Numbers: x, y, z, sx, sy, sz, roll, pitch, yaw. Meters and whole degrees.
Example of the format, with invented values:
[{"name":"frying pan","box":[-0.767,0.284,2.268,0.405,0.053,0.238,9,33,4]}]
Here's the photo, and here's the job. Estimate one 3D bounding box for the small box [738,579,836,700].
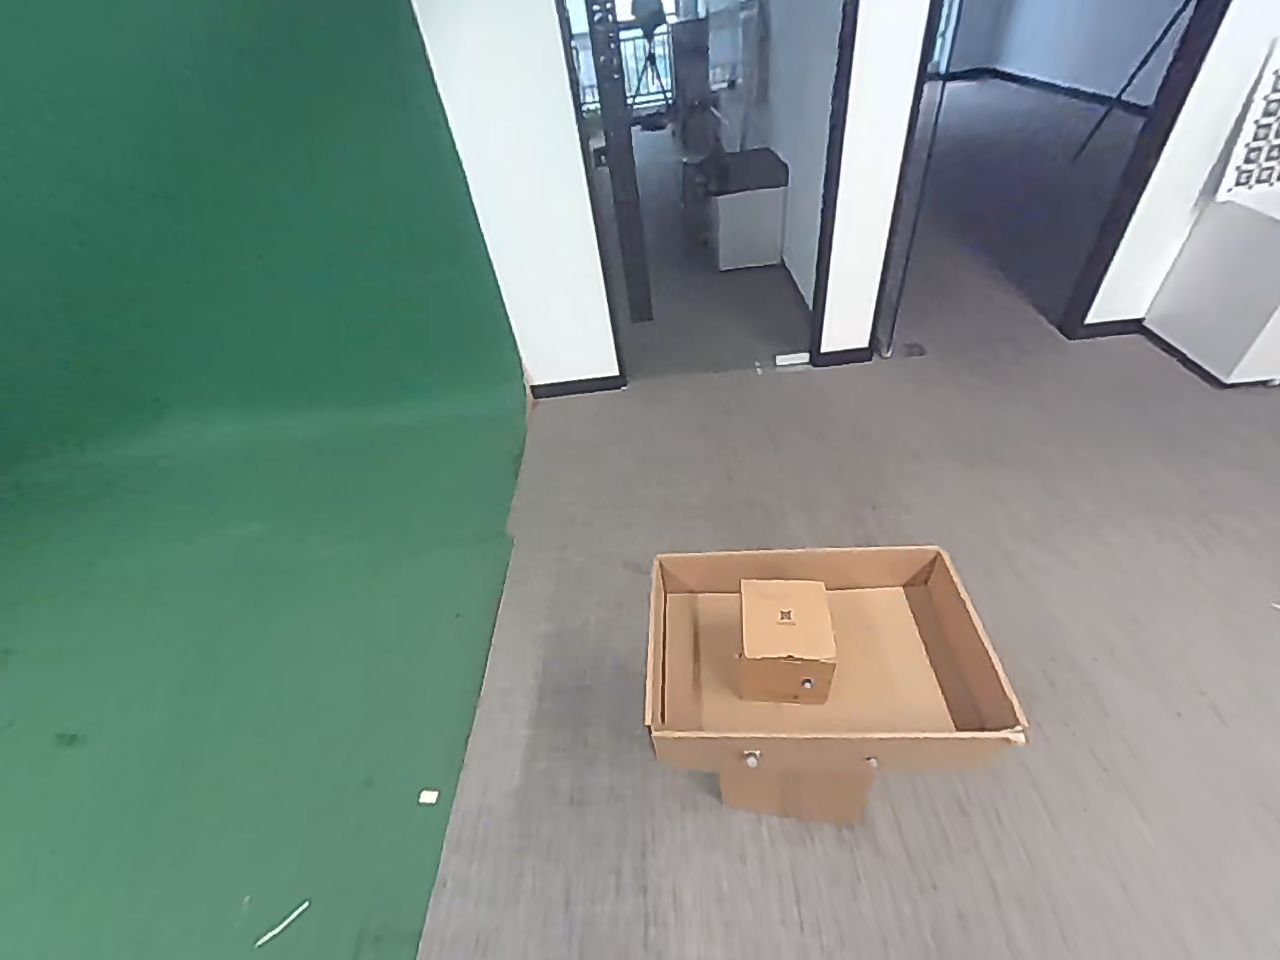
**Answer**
[{"name":"small box","box":[0.283,0.318,1.078,0.168,0.176,0.179,1,41,7]}]
